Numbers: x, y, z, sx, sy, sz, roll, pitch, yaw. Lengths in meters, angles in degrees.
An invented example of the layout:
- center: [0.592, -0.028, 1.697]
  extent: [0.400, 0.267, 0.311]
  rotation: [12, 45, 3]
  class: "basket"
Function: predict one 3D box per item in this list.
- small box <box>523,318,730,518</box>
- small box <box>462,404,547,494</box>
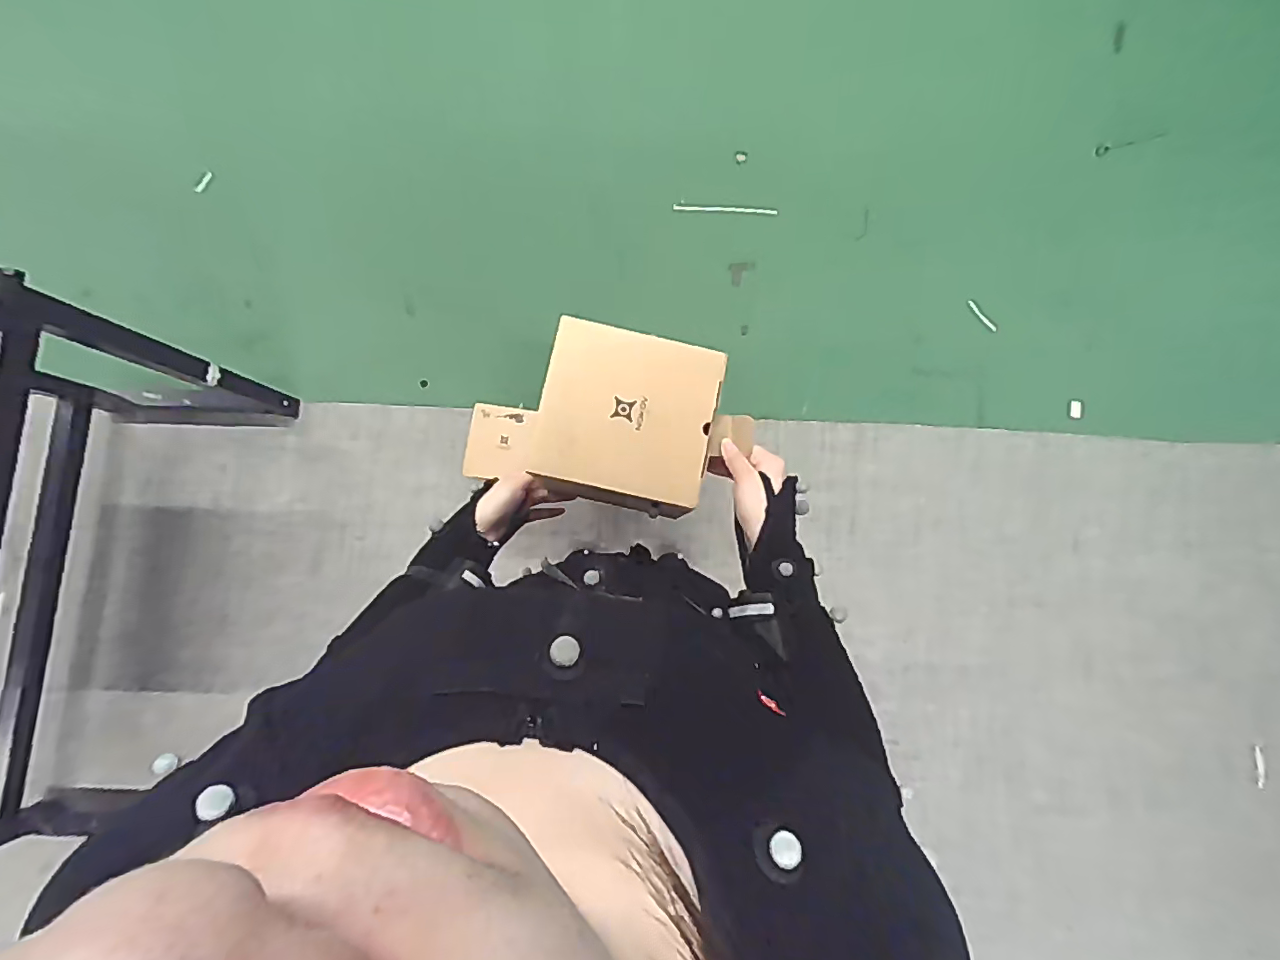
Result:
- center: [-0.016, -0.054, 0.606]
  extent: [0.179, 0.176, 0.168]
  rotation: [13, 82, -2]
  class: "small box"
- center: [-0.304, -0.066, 1.295]
  extent: [0.168, 0.176, 0.179]
  rotation: [9, 83, 3]
  class: "small box"
